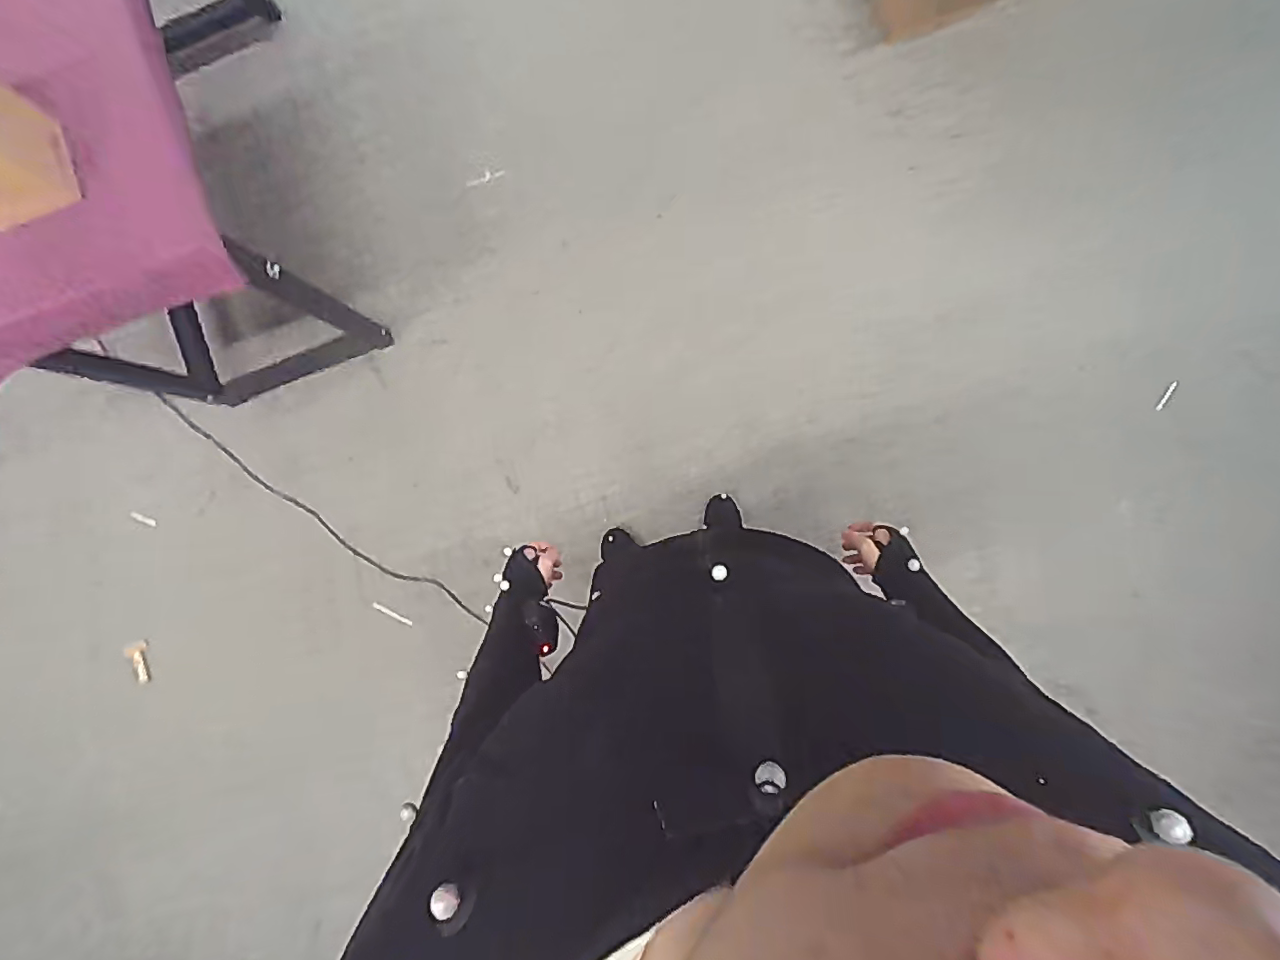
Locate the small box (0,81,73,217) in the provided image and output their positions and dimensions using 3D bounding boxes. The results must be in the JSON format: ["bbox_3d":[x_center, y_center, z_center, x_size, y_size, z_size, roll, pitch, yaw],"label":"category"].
[{"bbox_3d":[-1.137,-0.574,0.909,0.179,0.176,0.168,-19,88,3],"label":"small box"}]
